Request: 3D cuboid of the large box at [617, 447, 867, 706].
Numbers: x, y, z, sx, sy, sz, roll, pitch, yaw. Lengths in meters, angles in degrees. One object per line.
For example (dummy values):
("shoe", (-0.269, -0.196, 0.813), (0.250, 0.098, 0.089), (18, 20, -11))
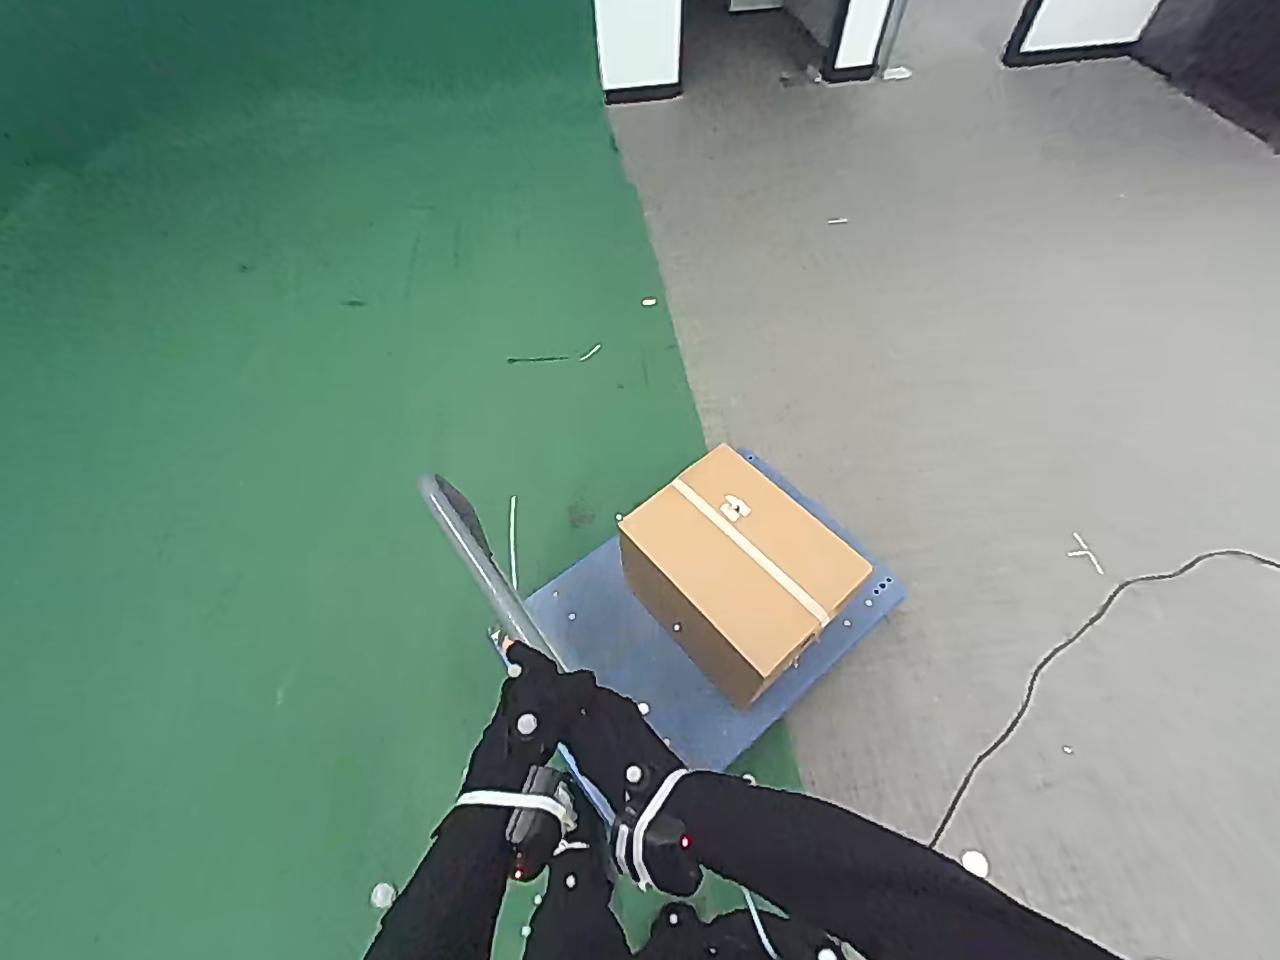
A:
("large box", (0.201, 0.212, 1.192), (0.320, 0.320, 0.408), (-36, 62, -21))
